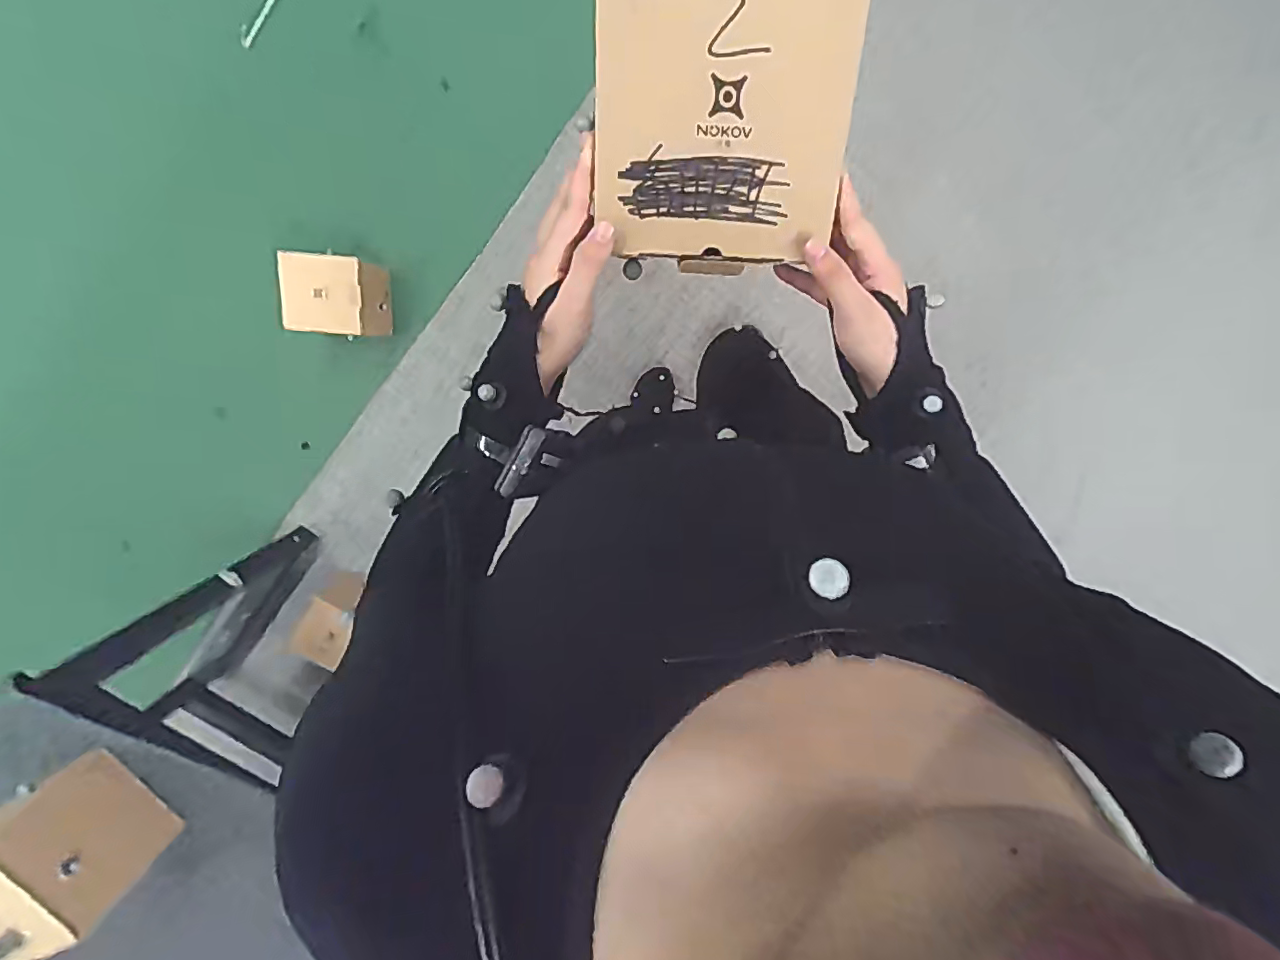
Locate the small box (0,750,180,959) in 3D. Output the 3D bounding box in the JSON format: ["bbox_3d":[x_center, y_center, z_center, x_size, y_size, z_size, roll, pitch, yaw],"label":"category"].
[{"bbox_3d":[-0.812,0.522,0.749,0.168,0.176,0.179,-29,104,7],"label":"small box"}]

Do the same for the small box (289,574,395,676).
[{"bbox_3d":[-0.797,0.387,1.471,0.168,0.176,0.179,33,100,-9],"label":"small box"}]

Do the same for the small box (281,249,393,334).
[{"bbox_3d":[-0.705,-0.435,1.275,0.179,0.176,0.168,3,104,-4],"label":"small box"}]
